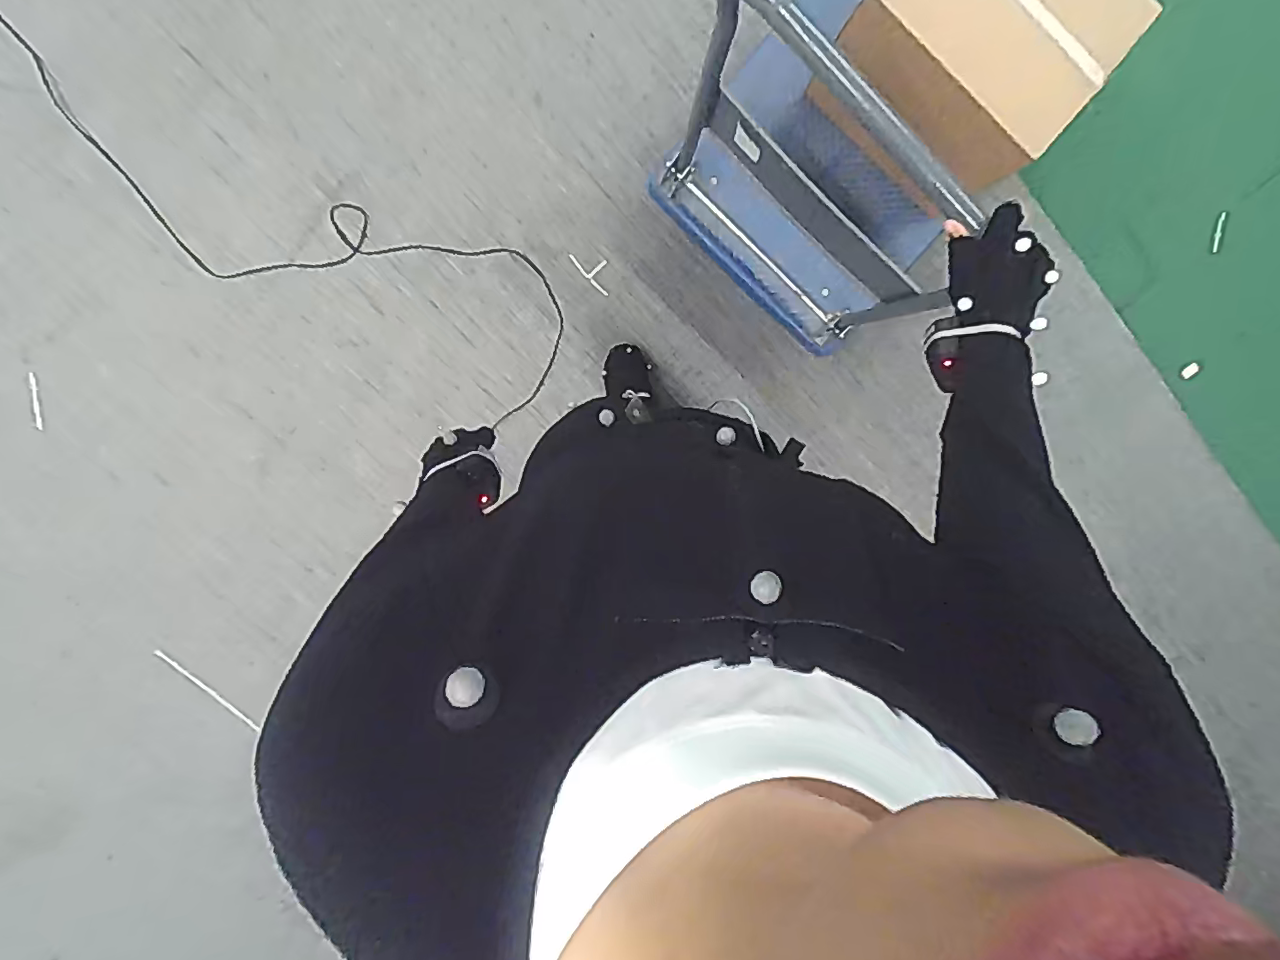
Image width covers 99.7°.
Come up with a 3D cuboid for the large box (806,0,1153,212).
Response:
[{"bbox_3d":[0.608,-0.814,1.040,0.408,0.320,0.320,39,94,-7],"label":"large box"}]
